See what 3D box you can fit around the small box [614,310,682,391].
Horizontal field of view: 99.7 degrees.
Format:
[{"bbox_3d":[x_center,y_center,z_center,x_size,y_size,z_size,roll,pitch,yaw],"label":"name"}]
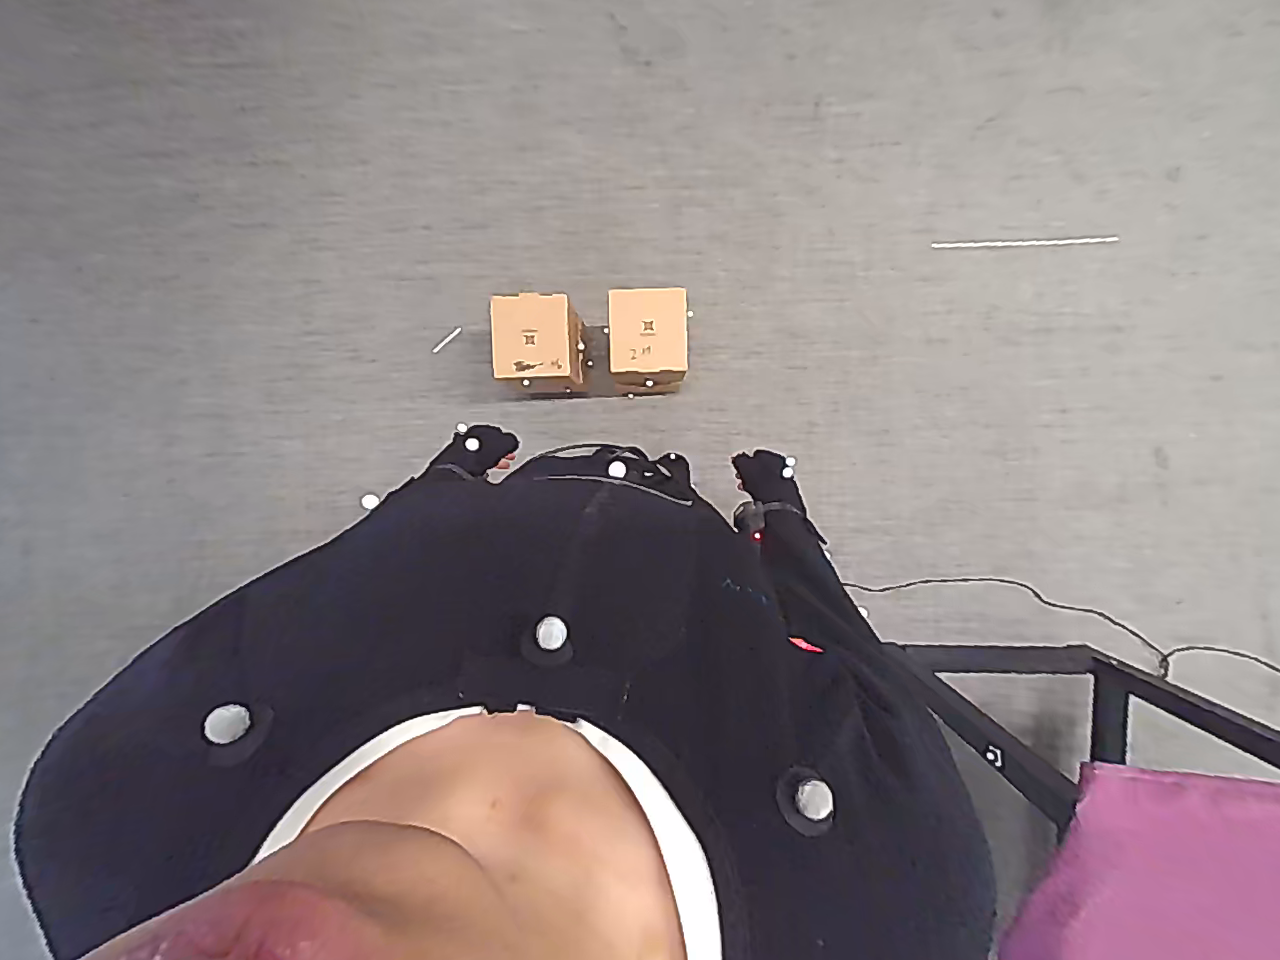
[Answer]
[{"bbox_3d":[0.022,-0.323,1.381,0.168,0.176,0.179,-2,92,1],"label":"small box"}]
